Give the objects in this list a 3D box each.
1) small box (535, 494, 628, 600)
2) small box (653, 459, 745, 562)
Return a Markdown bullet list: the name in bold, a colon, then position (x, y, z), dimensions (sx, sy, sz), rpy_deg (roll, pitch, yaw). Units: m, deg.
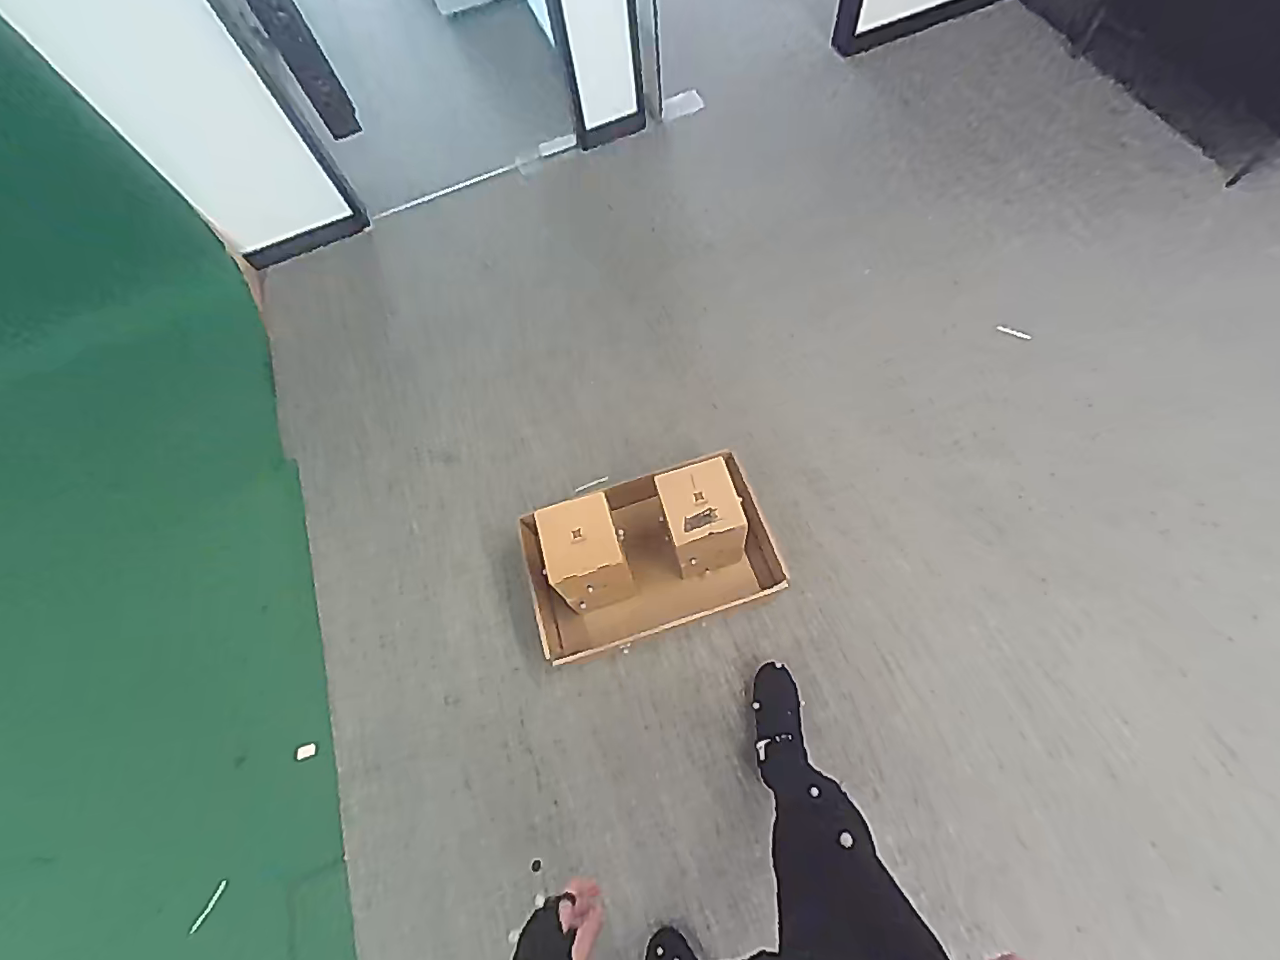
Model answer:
- **small box**: position (-0.133, 0.160, 1.254), dimensions (0.168, 0.176, 0.179), rpy_deg (-17, 65, -3)
- **small box**: position (0.138, 0.079, 1.260), dimensions (0.168, 0.176, 0.179), rpy_deg (-16, 64, 0)
